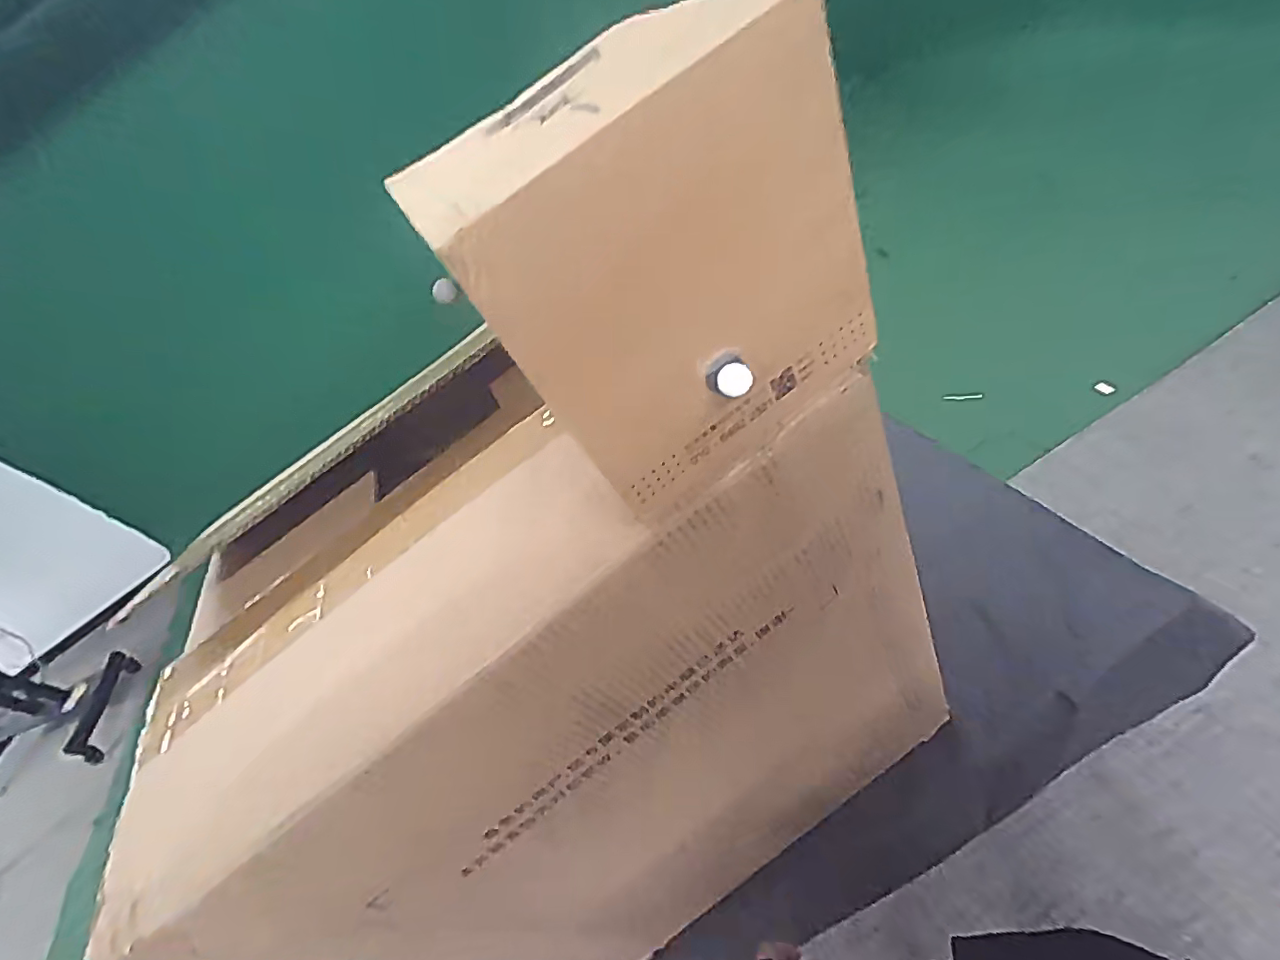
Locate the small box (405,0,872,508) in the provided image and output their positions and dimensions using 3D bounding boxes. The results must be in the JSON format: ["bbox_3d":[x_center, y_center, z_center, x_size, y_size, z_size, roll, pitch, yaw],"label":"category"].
[{"bbox_3d":[0.000,-0.117,0.303,0.168,0.176,0.179,-37,43,-2],"label":"small box"}]
